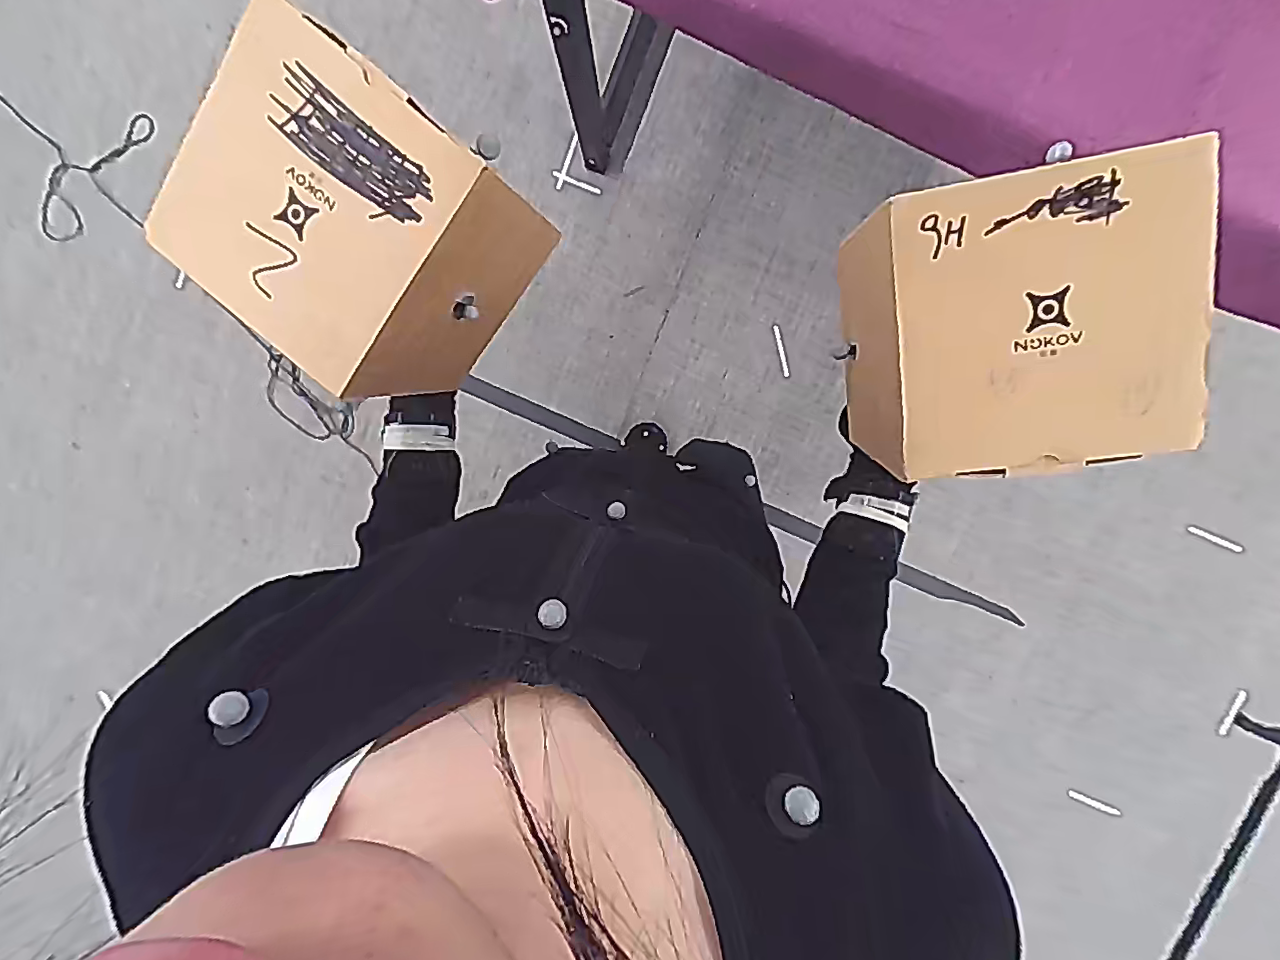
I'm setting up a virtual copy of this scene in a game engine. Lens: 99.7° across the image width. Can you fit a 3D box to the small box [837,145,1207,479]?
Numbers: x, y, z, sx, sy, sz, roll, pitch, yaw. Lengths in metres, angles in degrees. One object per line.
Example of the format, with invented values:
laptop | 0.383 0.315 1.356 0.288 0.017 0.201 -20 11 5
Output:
small box | 0.250 -0.111 0.402 0.168 0.176 0.179 -6 103 10
